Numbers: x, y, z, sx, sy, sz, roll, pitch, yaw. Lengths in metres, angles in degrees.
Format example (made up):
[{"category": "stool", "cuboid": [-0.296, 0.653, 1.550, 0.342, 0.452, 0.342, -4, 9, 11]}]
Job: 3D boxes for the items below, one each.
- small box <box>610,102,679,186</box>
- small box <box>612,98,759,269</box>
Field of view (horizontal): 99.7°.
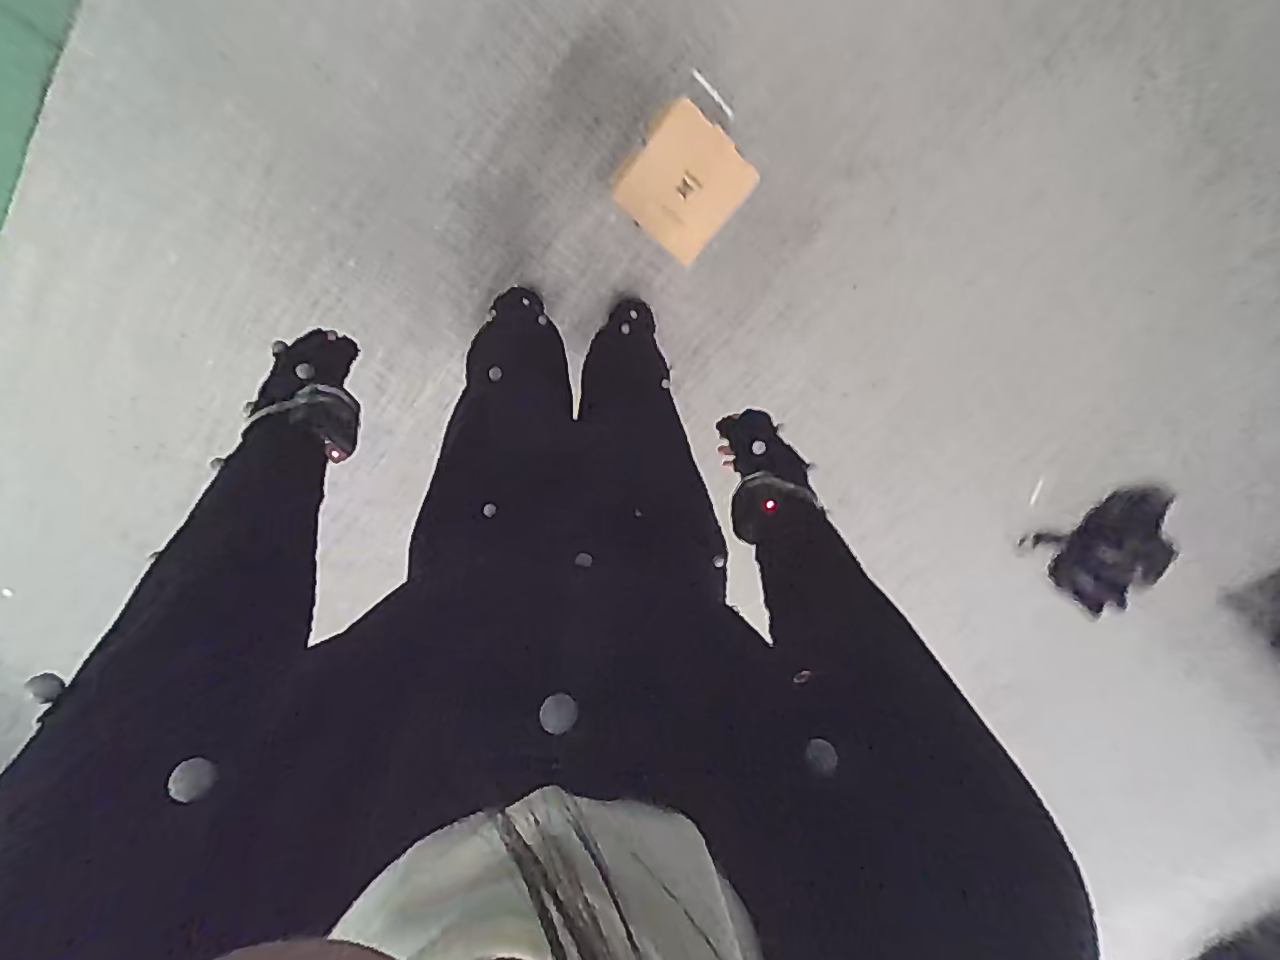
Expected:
[{"category": "small box", "cuboid": [0.060, -0.582, 1.039, 0.179, 0.176, 0.168, 35, 111, -23]}, {"category": "small box", "cuboid": [0.064, -0.490, 0.904, 0.168, 0.176, 0.179, 35, 112, -21]}]
